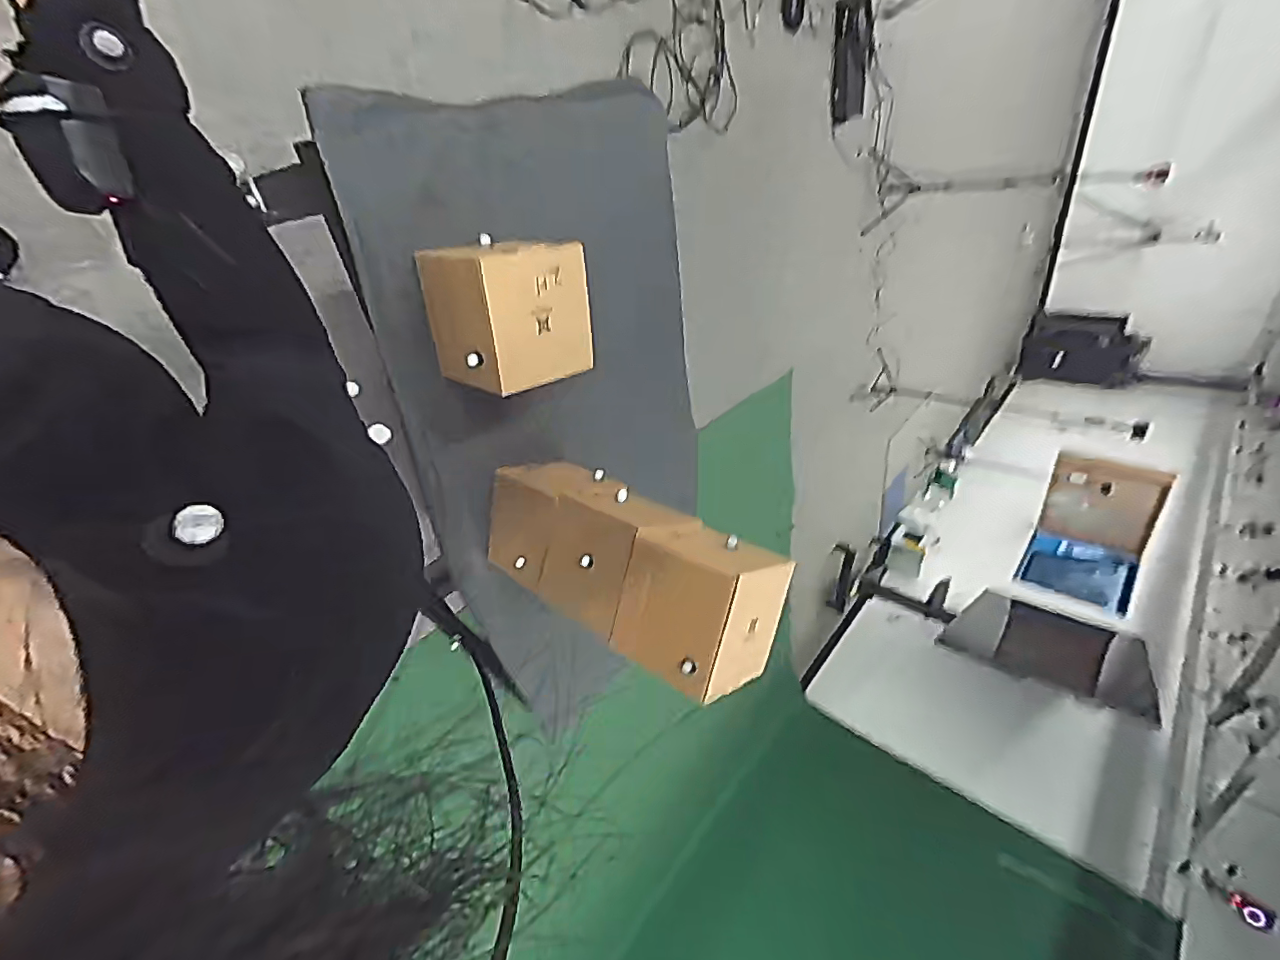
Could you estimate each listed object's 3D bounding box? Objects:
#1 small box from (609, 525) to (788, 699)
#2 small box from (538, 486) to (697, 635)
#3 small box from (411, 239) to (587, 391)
[{"bbox_3d":[0.079,0.166,0.756,0.168,0.176,0.179,2,105,-51],"label":"small box"},{"bbox_3d":[-0.040,0.118,0.856,0.168,0.176,0.179,3,103,-51],"label":"small box"},{"bbox_3d":[-0.198,-0.245,0.774,0.168,0.176,0.179,-29,126,-39],"label":"small box"}]
